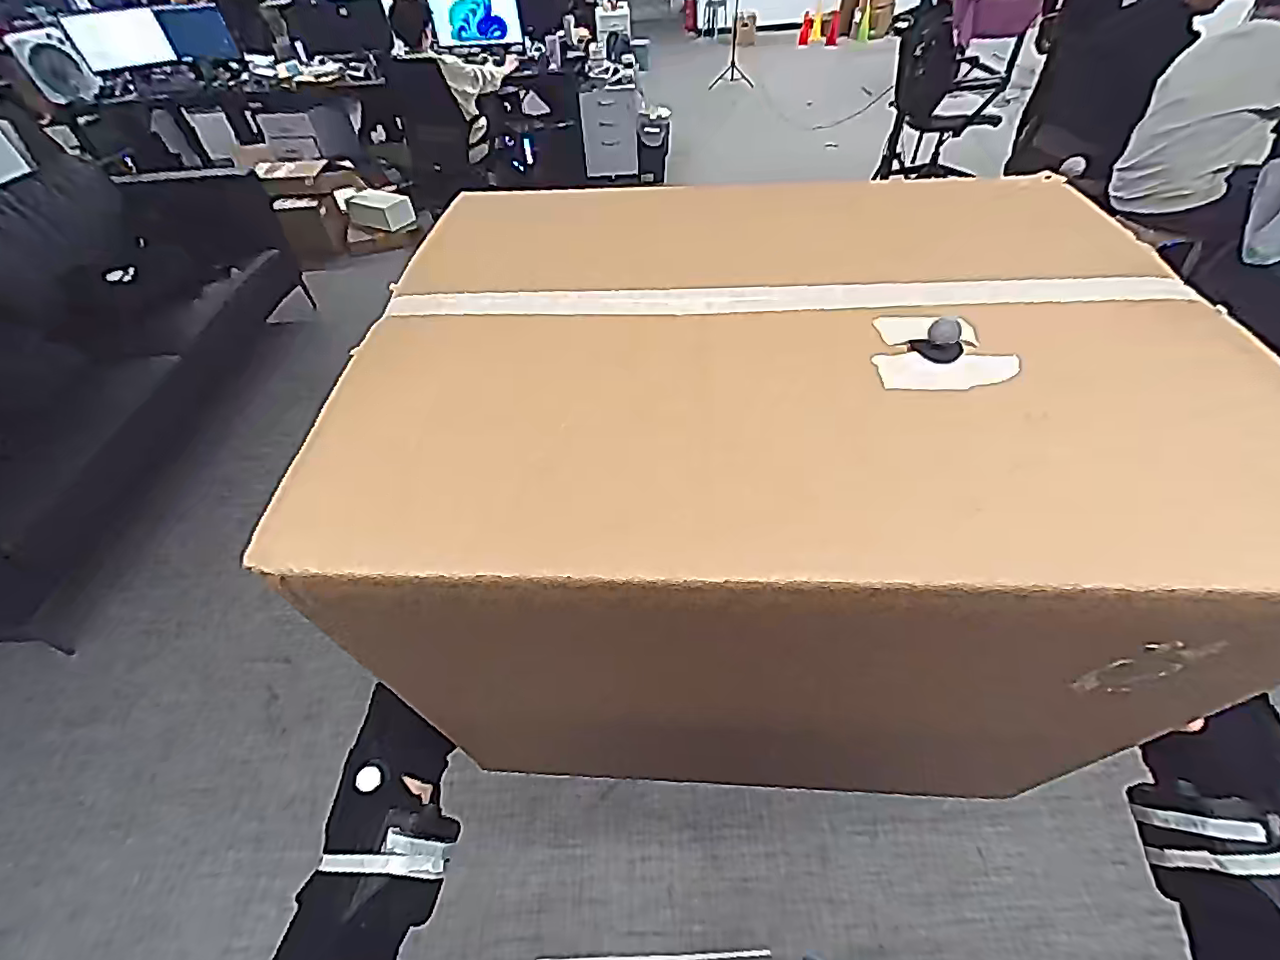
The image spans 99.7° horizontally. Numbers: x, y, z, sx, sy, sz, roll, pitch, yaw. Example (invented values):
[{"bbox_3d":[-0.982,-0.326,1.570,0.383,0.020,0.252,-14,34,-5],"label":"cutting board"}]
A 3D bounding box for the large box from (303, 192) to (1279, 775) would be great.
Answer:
[{"bbox_3d":[0.078,0.012,0.403,0.408,0.320,0.320,1,51,4],"label":"large box"}]
